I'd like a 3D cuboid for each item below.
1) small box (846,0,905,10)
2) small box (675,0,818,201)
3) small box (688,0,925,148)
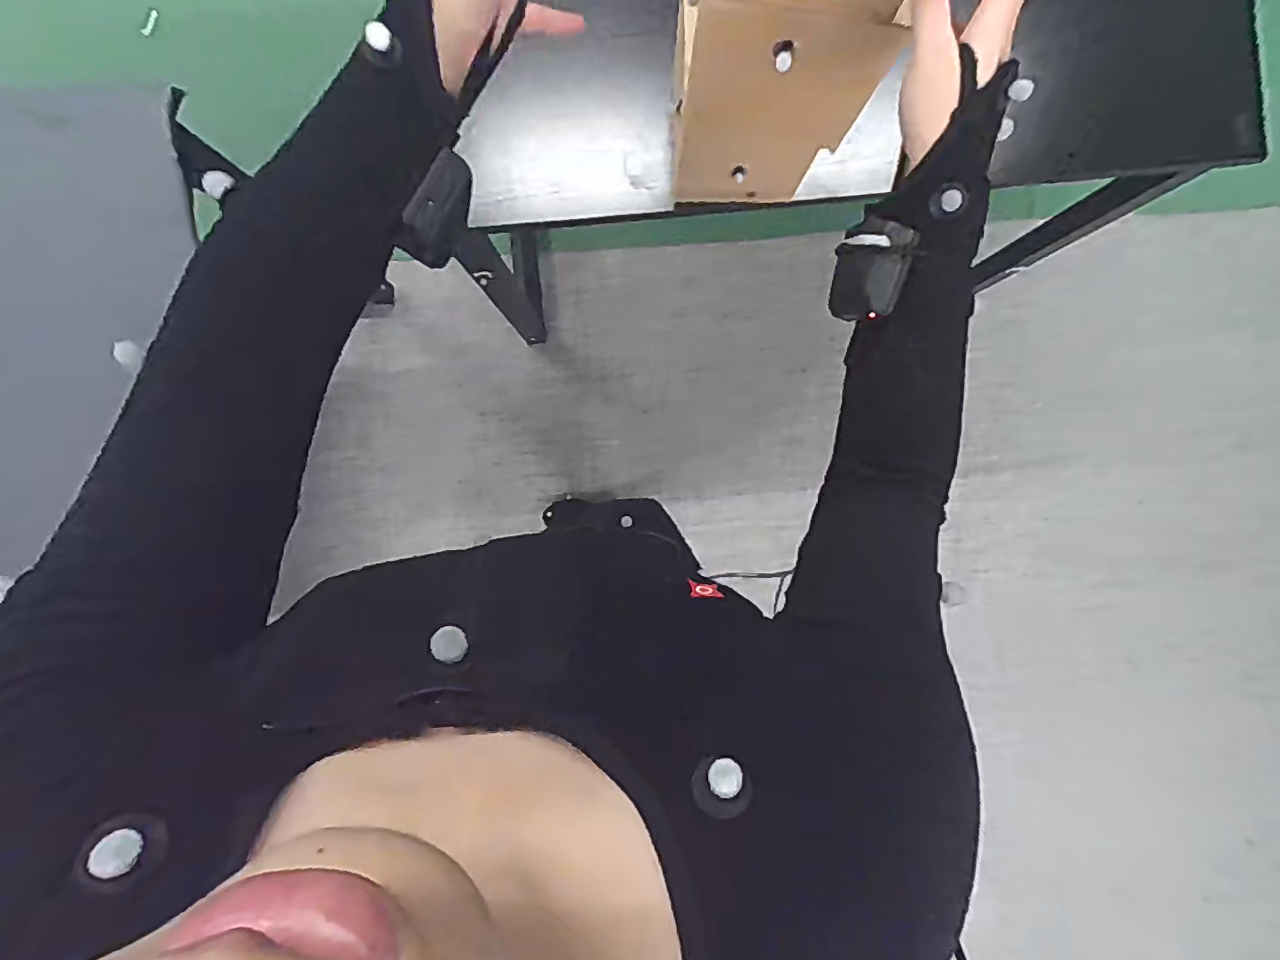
[{"bbox_3d":[0.143,-0.460,0.344,0.168,0.176,0.179,11,92,0],"label":"small box"},{"bbox_3d":[0.133,-0.469,0.670,0.168,0.176,0.179,0,90,-1],"label":"small box"},{"bbox_3d":[0.149,-0.447,0.508,0.179,0.176,0.168,8,91,0],"label":"small box"}]
